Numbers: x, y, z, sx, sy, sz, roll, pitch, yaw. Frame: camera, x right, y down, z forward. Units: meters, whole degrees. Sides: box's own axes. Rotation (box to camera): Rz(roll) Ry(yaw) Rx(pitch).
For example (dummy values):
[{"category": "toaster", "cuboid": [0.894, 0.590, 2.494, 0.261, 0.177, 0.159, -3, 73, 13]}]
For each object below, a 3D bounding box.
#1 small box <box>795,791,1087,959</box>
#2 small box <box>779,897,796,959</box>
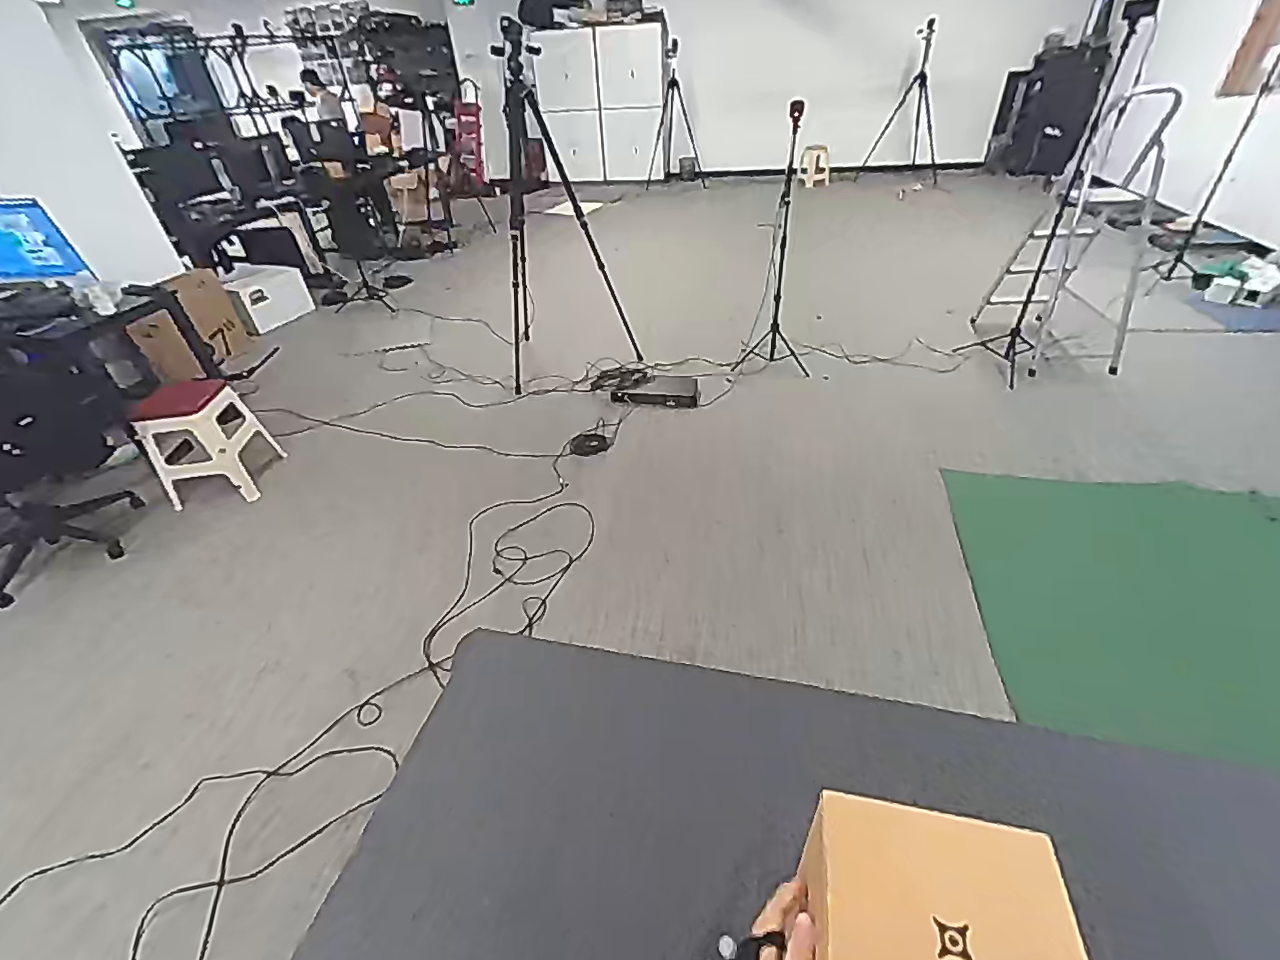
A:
[{"category": "small box", "cuboid": [0.210, 0.376, 0.405, 0.168, 0.176, 0.179, 6, 38, 12]}, {"category": "small box", "cuboid": [0.218, 0.509, 0.498, 0.168, 0.176, 0.179, 5, 38, 13]}]
